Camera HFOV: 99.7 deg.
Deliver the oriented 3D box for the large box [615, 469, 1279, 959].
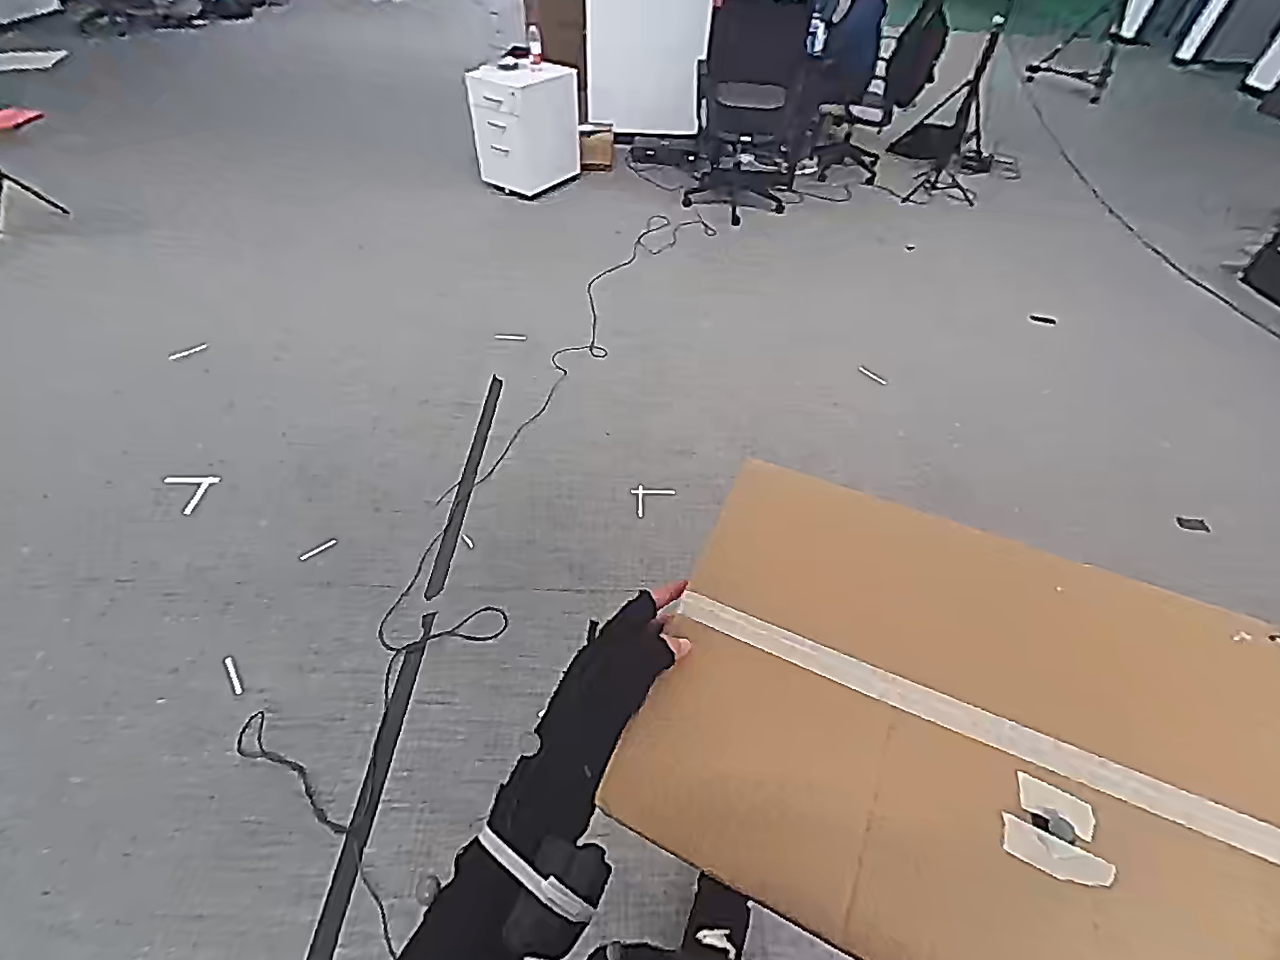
[{"bbox_3d":[0.231,0.246,0.517,0.408,0.320,0.320,20,62,17],"label":"large box"}]
